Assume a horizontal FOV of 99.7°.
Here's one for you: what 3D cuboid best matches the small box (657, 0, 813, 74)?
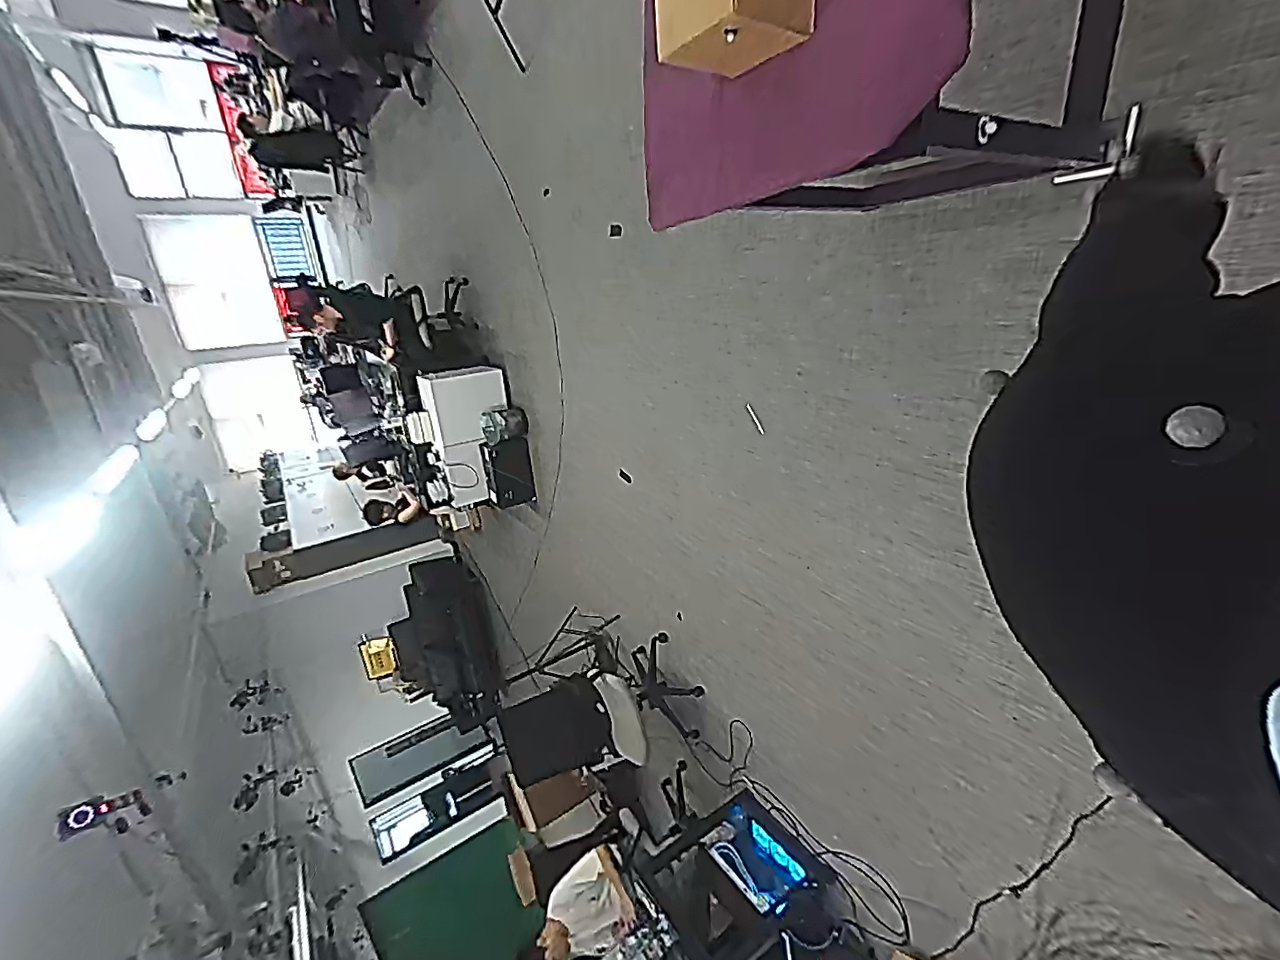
[{"bbox_3d":[0.140,-0.748,0.817,0.179,0.176,0.168,21,121,52],"label":"small box"}]
